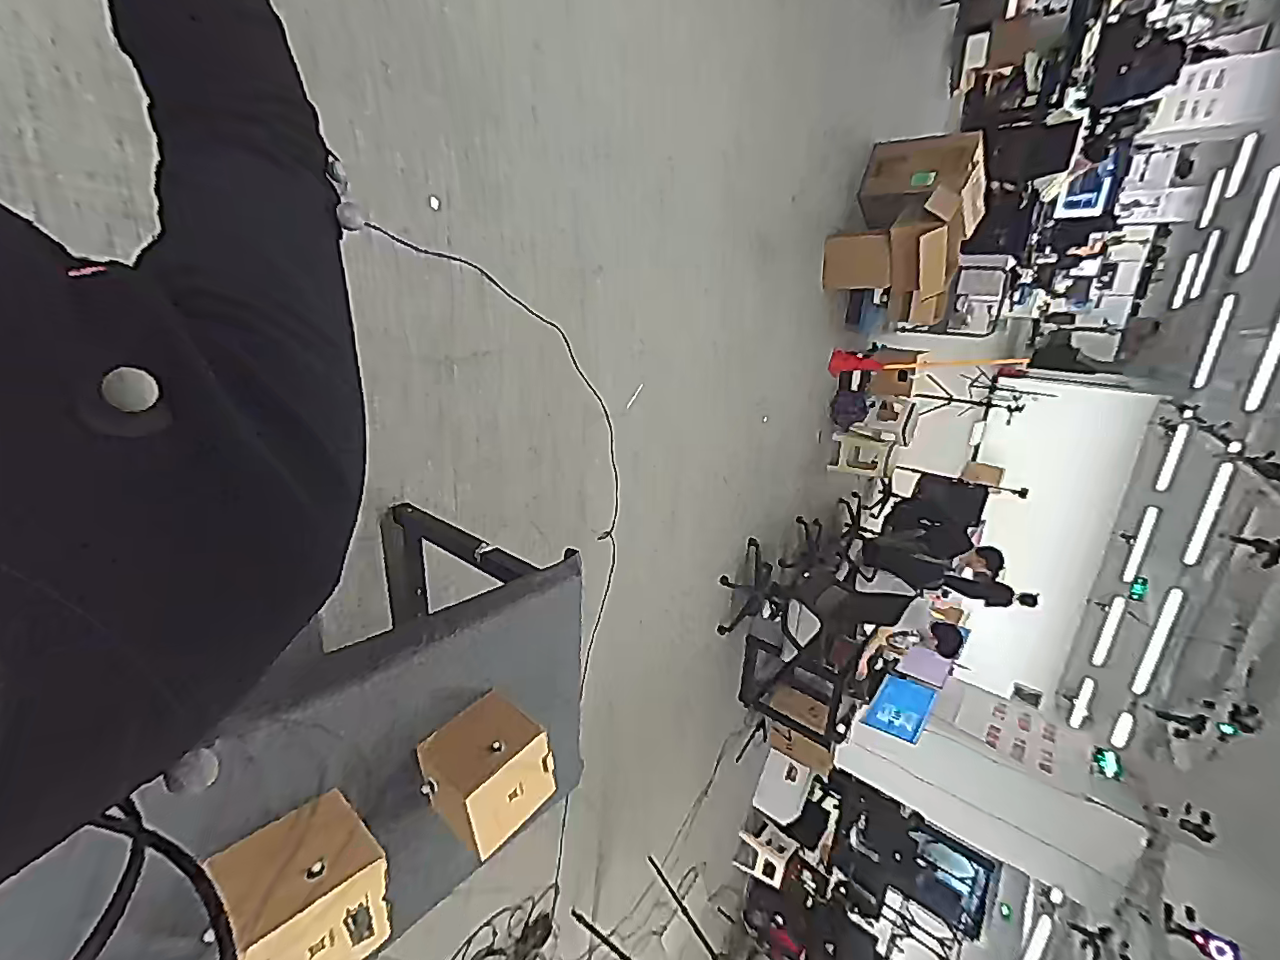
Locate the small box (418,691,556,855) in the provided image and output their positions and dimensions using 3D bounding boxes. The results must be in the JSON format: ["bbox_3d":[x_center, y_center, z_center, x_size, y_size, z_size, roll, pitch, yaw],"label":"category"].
[{"bbox_3d":[-0.285,0.538,1.021,0.179,0.176,0.168,-29,124,-42],"label":"small box"}]

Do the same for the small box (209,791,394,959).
[{"bbox_3d":[-0.485,0.602,0.784,0.179,0.176,0.168,-15,116,-48],"label":"small box"}]
